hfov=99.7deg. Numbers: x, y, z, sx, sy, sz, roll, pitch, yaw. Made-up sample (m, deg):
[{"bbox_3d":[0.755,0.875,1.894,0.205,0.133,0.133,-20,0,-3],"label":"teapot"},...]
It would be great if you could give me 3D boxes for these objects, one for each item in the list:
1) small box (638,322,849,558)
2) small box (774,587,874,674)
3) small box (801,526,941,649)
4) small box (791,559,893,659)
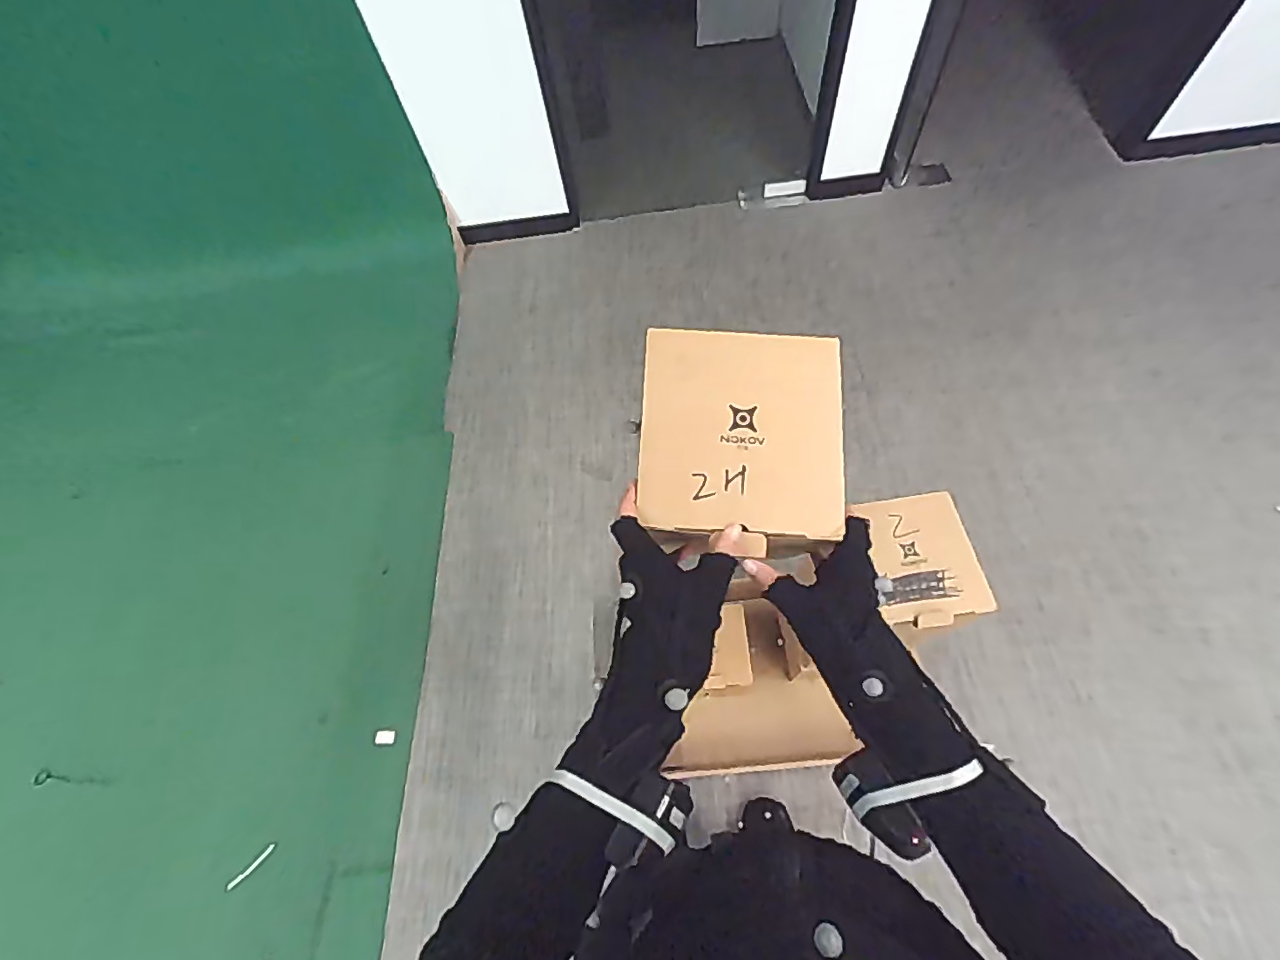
[{"bbox_3d":[0.085,-0.026,0.515,0.168,0.176,0.179,4,77,1],"label":"small box"},{"bbox_3d":[0.417,0.343,1.248,0.168,0.176,0.179,-11,62,3],"label":"small box"},{"bbox_3d":[0.393,0.197,0.954,0.168,0.176,0.179,-6,62,3],"label":"small box"},{"bbox_3d":[0.410,0.258,1.087,0.168,0.176,0.179,-7,62,4],"label":"small box"}]
